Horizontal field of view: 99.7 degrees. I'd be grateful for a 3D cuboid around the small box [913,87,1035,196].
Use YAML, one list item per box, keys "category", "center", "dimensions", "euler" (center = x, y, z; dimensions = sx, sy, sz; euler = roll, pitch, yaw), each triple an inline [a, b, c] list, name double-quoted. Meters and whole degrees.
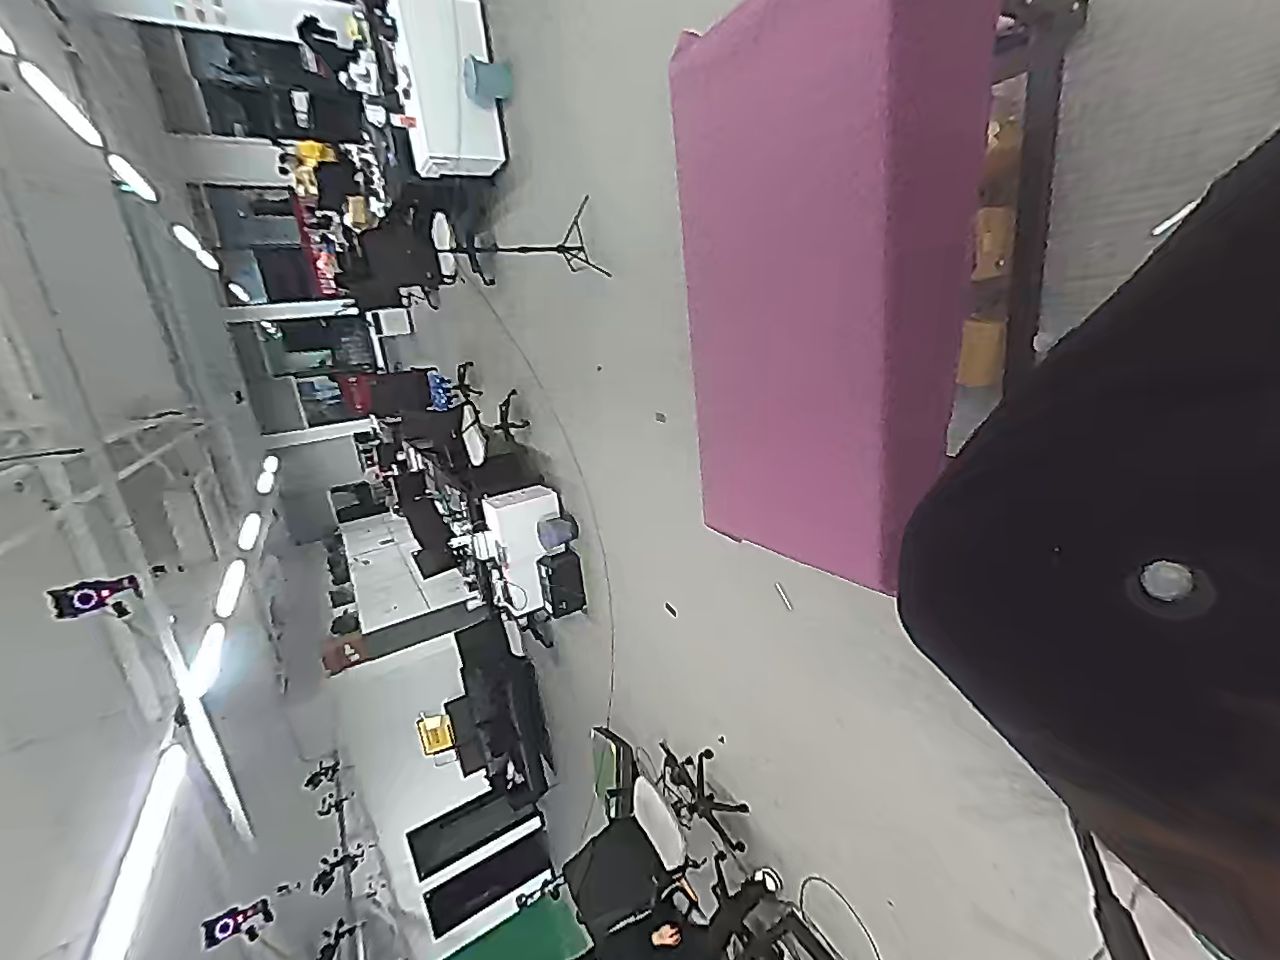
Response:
- category: "small box"
  center: [0.852, -0.856, 1.383]
  dimensions: [0.179, 0.176, 0.168]
  euler: [-36, 72, 61]
